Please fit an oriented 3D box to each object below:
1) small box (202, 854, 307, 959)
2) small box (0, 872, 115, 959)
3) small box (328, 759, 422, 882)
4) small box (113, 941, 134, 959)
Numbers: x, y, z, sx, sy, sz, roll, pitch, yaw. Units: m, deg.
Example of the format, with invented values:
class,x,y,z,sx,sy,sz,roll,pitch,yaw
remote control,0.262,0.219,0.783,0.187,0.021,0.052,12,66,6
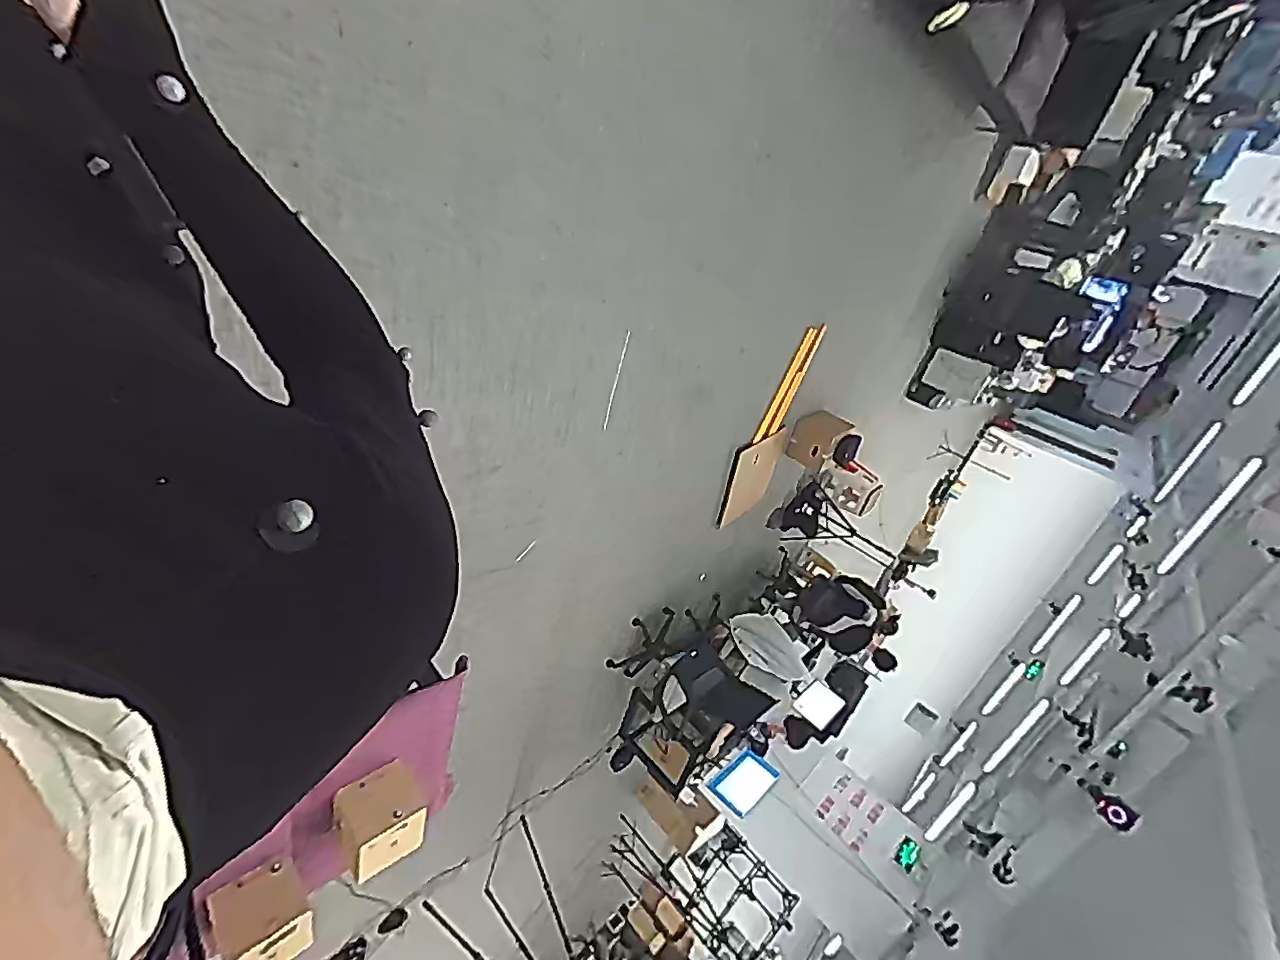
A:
class,x,y,z,sx,sy,sz,roll,pitch,yaw
small box,-0.906,1.033,1.274,0.168,0.176,0.179,-15,131,-46
small box,-1.027,0.832,0.930,0.168,0.176,0.179,-13,131,-48
small box,-0.693,0.876,1.406,0.168,0.176,0.179,-13,129,-46
small box,-1.099,1.079,1.069,0.168,0.176,0.179,-16,131,-46
